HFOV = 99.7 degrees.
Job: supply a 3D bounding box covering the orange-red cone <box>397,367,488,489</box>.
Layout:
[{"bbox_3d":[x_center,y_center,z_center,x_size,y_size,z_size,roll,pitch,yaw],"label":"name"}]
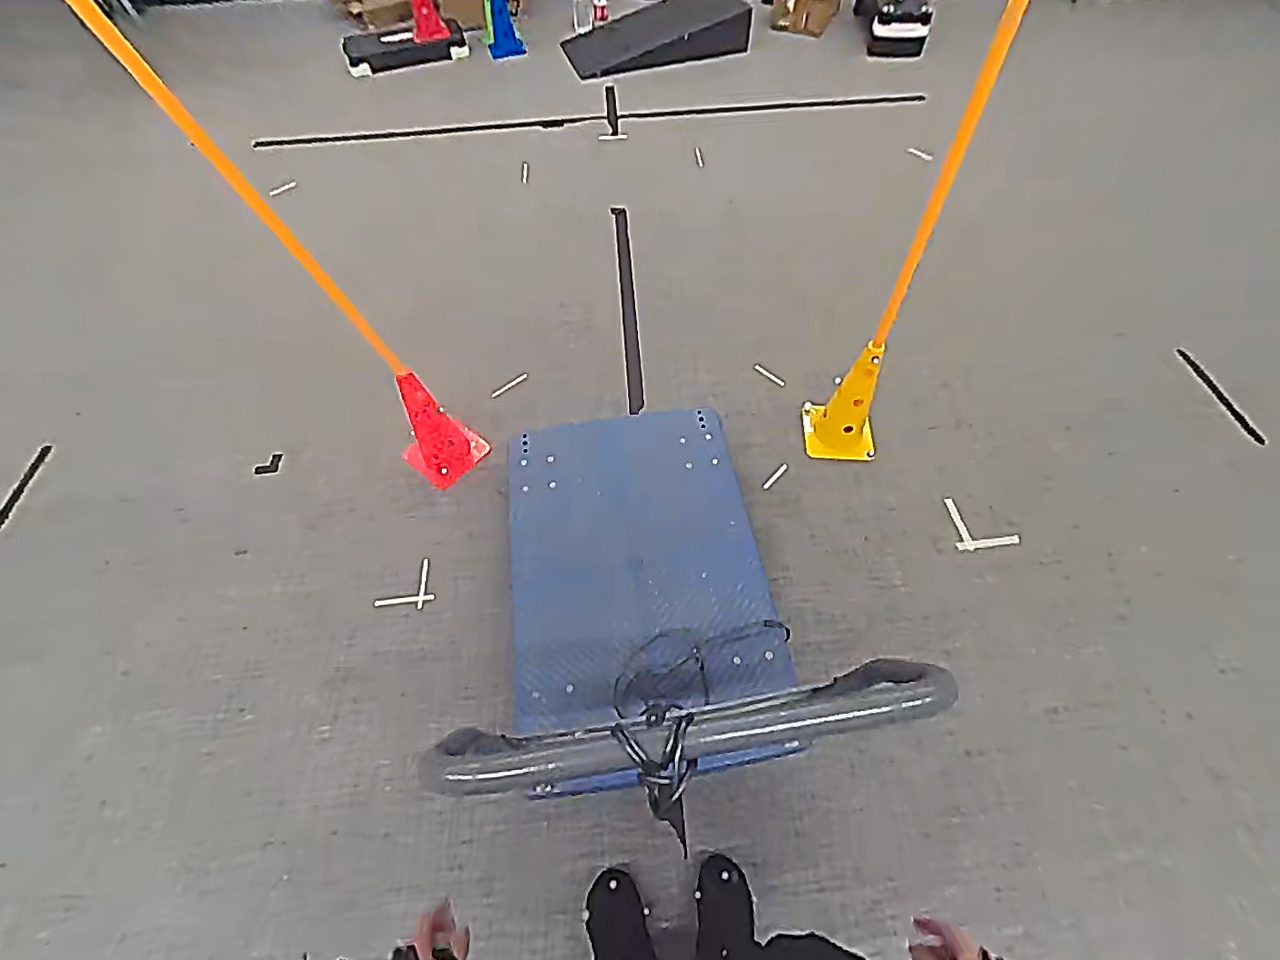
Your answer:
[{"bbox_3d":[-0.585,-0.173,1.489,0.198,0.360,0.199,36,64,20],"label":"orange-red cone"}]
